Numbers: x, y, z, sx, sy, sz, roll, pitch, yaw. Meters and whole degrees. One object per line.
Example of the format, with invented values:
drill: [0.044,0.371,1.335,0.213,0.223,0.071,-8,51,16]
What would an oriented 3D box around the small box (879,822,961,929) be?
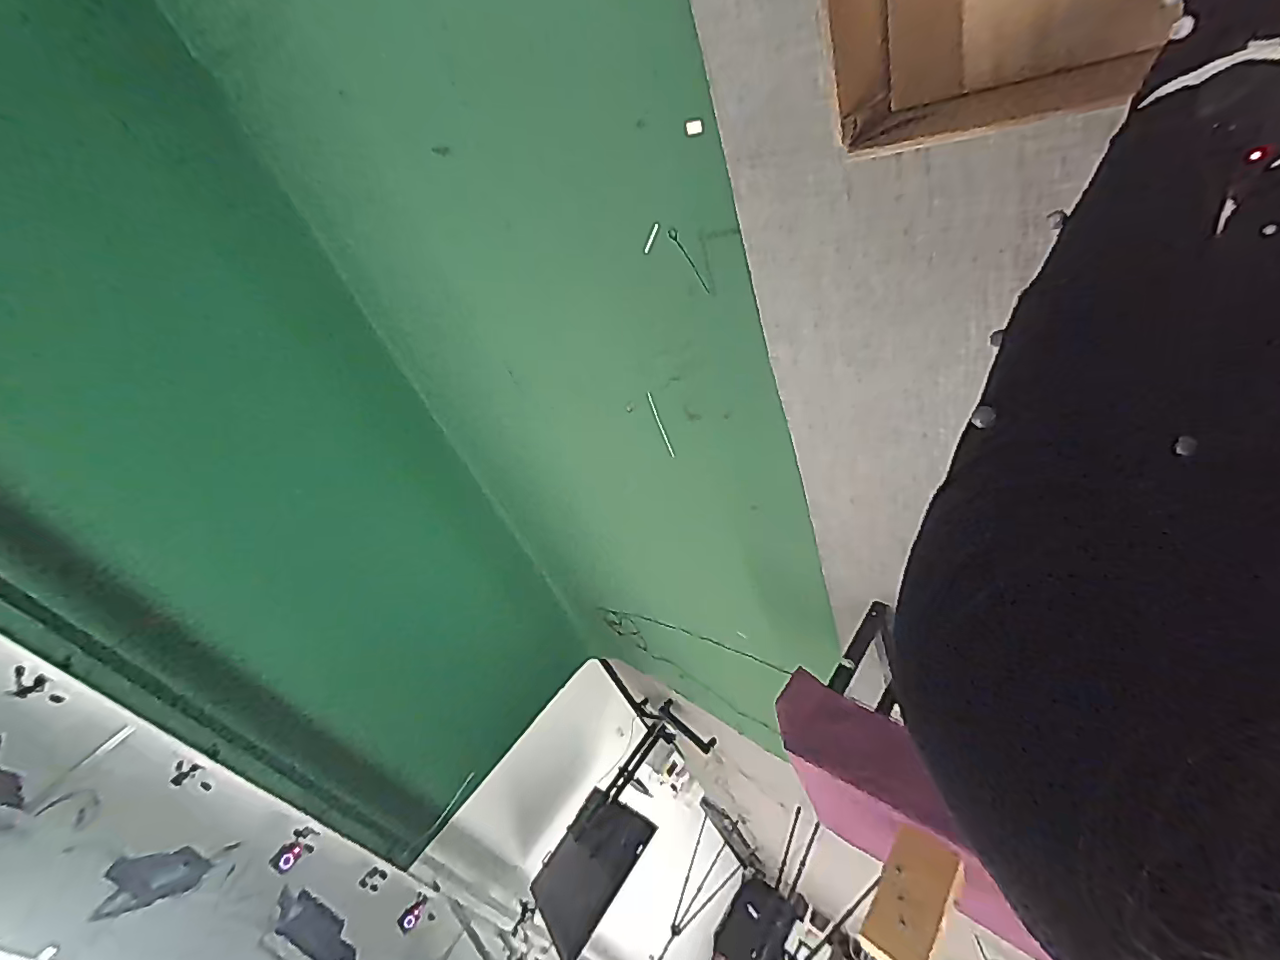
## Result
small box: [0.840,1.170,1.611,0.179,0.176,0.168,15,141,44]

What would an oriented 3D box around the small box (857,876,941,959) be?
small box: [0.739,1.278,1.538,0.168,0.176,0.179,17,142,43]
